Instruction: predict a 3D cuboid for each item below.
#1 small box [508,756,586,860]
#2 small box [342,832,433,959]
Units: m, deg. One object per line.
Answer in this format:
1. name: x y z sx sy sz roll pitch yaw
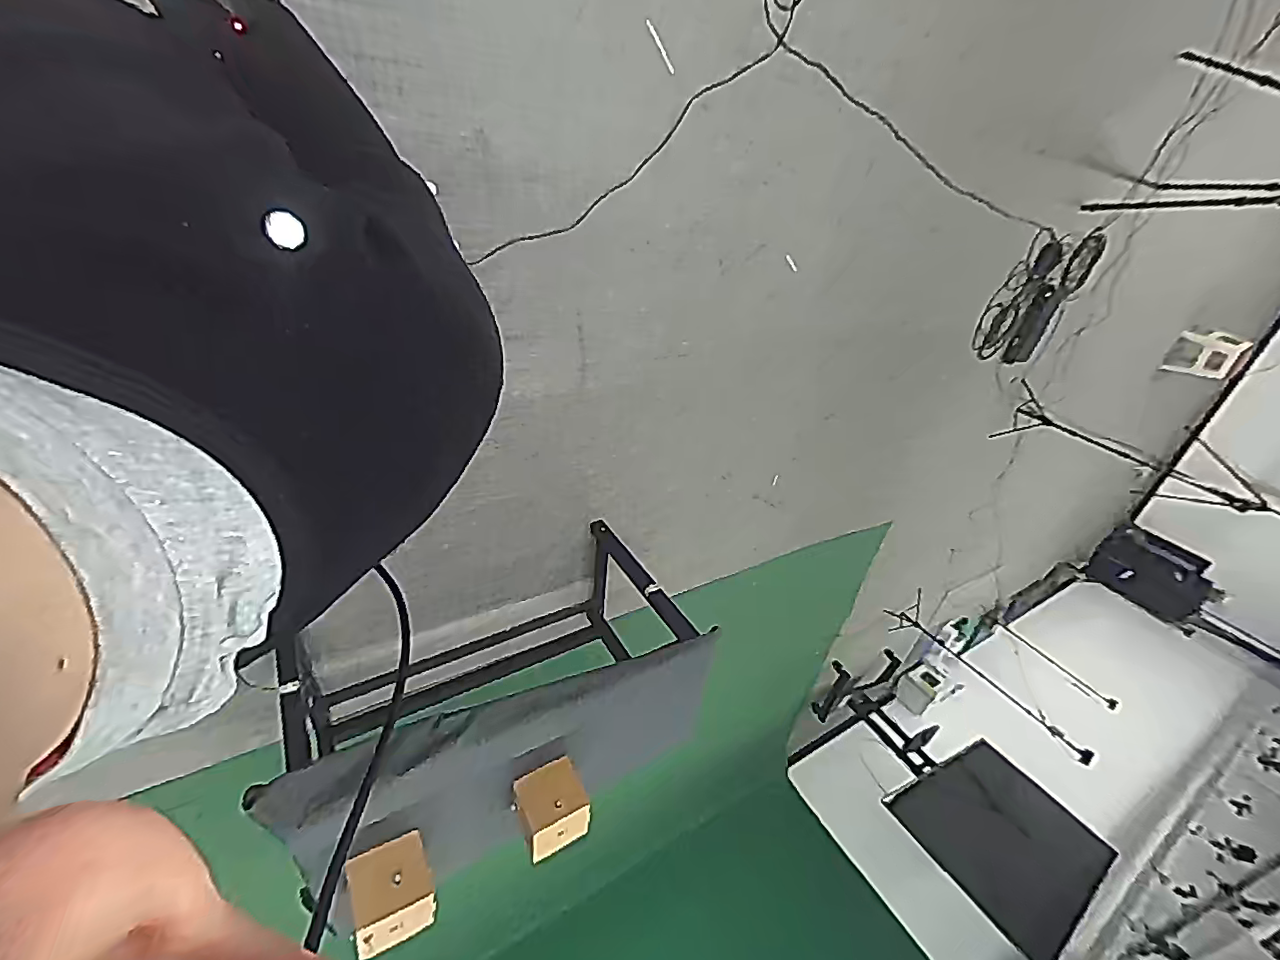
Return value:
1. small box: -0.276 0.959 1.596 0.179 0.176 0.168 -14 127 -29
2. small box: -0.640 1.044 1.371 0.179 0.176 0.168 -9 125 -34
